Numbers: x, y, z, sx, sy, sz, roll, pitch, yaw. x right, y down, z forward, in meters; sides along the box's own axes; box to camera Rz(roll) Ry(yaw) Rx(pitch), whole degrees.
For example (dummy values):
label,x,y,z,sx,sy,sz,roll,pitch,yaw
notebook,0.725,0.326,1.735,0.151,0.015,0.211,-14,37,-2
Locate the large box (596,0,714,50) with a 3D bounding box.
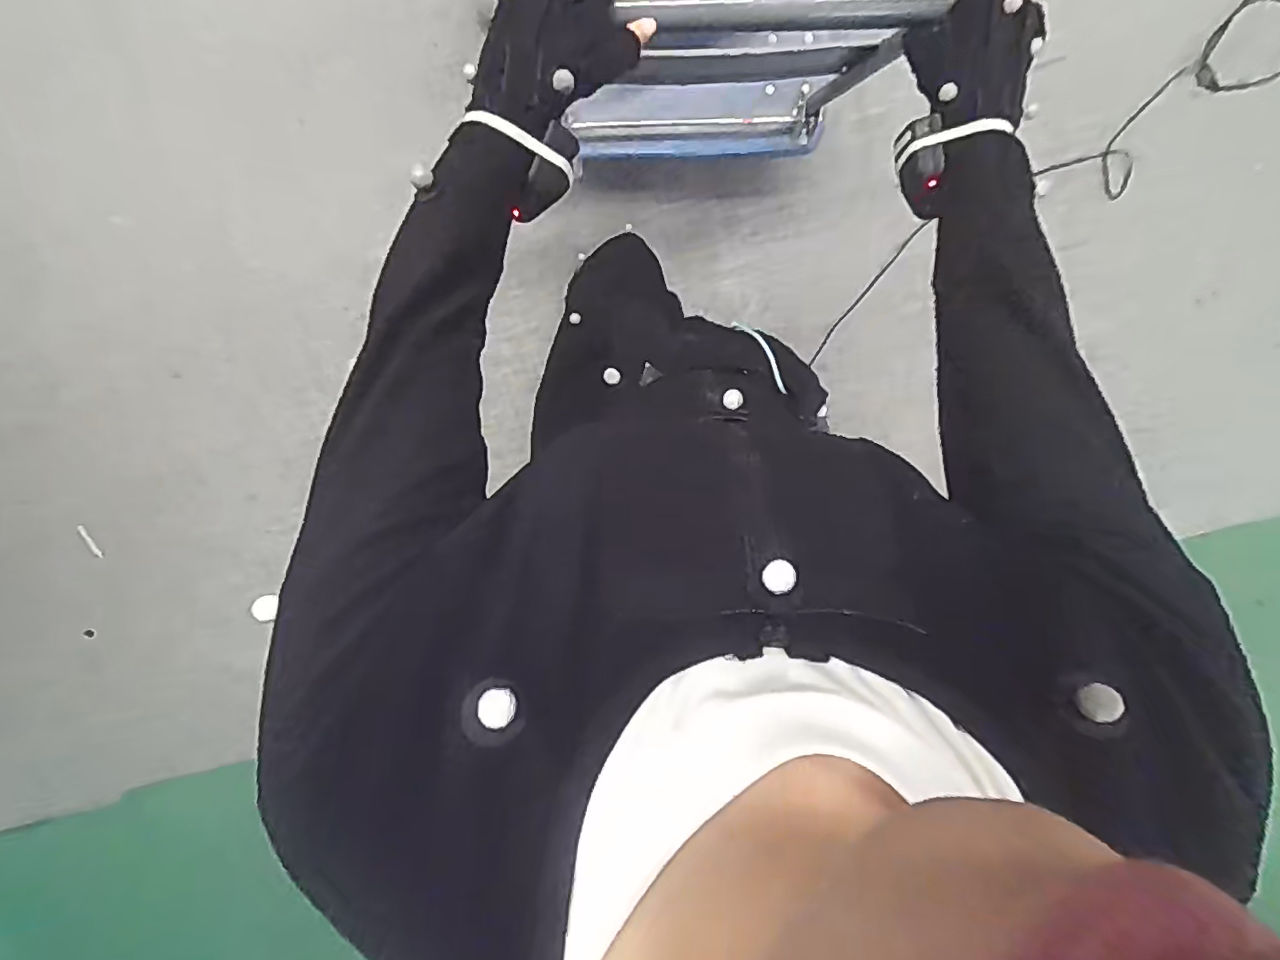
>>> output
label,x,y,z,sx,sy,sz,roll,pitch,yaw
large box,0.078,-0.961,0.813,0.408,0.320,0.320,-22,109,8
